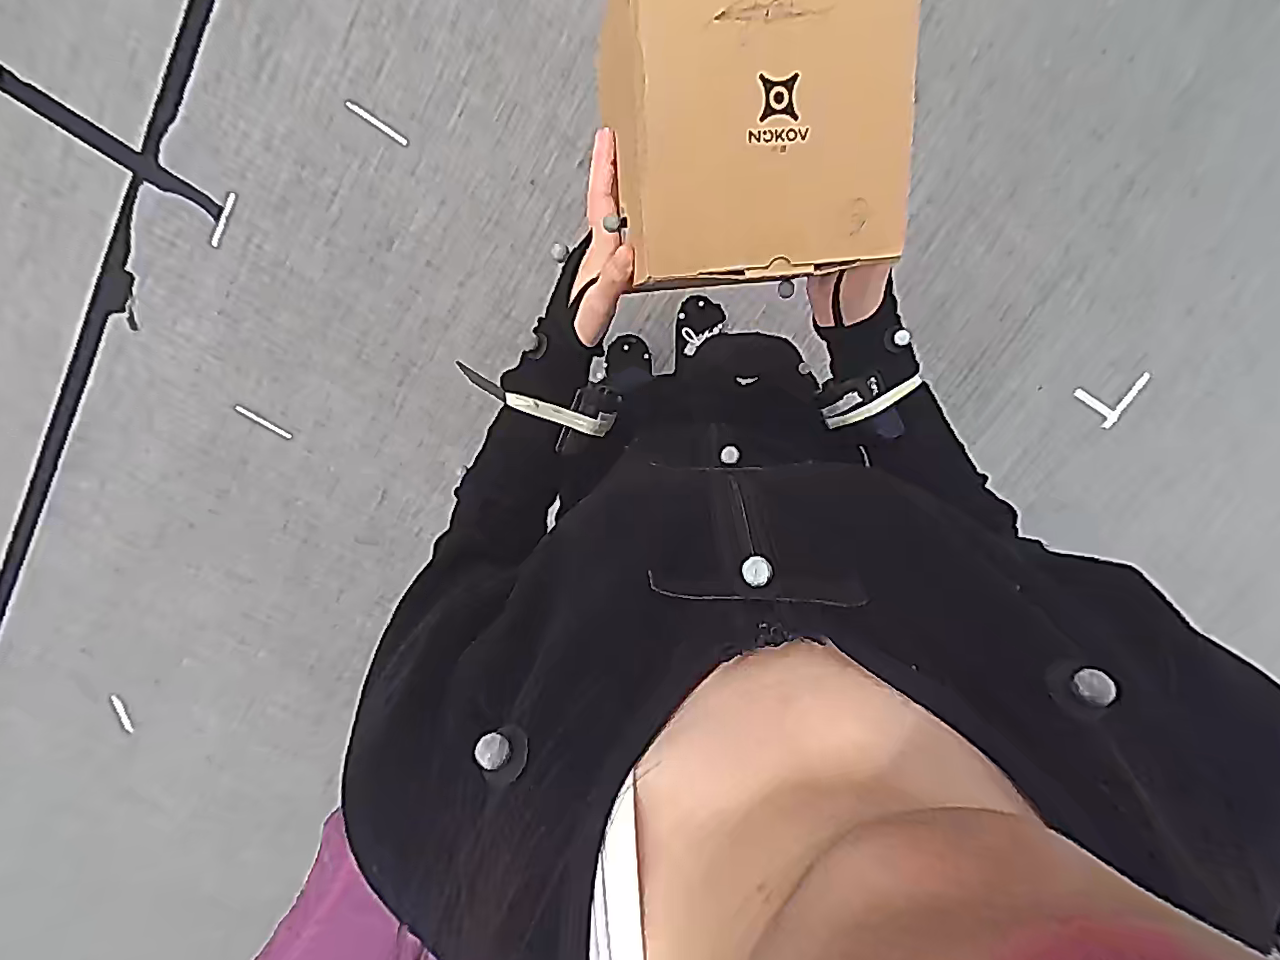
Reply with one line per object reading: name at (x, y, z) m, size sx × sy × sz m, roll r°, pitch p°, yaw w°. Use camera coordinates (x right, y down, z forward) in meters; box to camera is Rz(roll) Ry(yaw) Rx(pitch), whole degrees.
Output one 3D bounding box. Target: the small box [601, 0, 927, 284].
small box at (0.067, -0.234, 0.376) m, size 0.168 × 0.176 × 0.179 m, roll -8°, pitch 107°, yaw -7°
